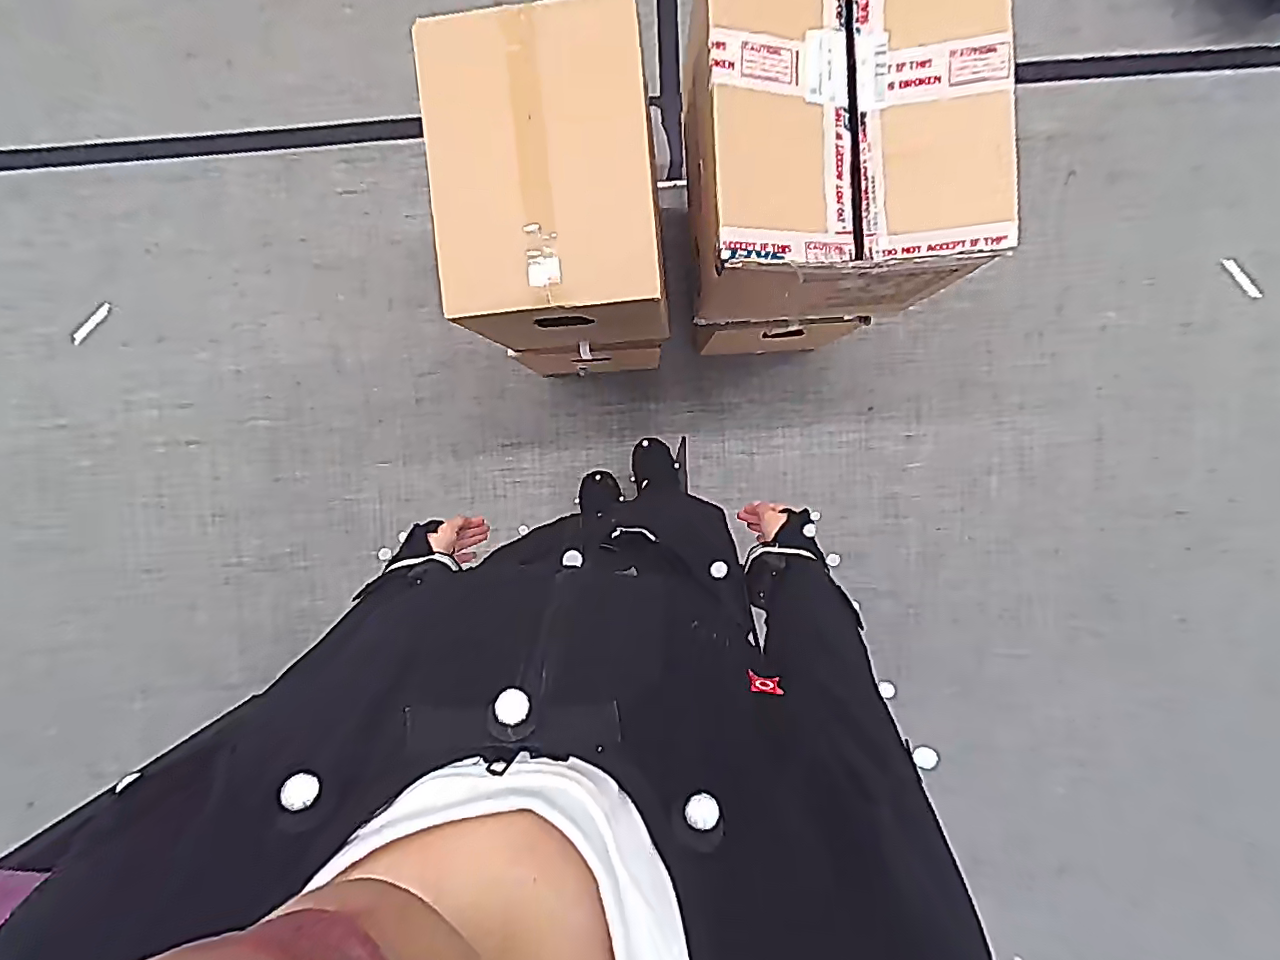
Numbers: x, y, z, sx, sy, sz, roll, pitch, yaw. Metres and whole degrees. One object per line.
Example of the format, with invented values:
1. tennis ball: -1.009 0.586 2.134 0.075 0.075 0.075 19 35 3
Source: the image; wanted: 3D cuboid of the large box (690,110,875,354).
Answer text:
1. large box: 0.293 -0.513 1.198 0.320 0.320 0.408 -4 94 1
